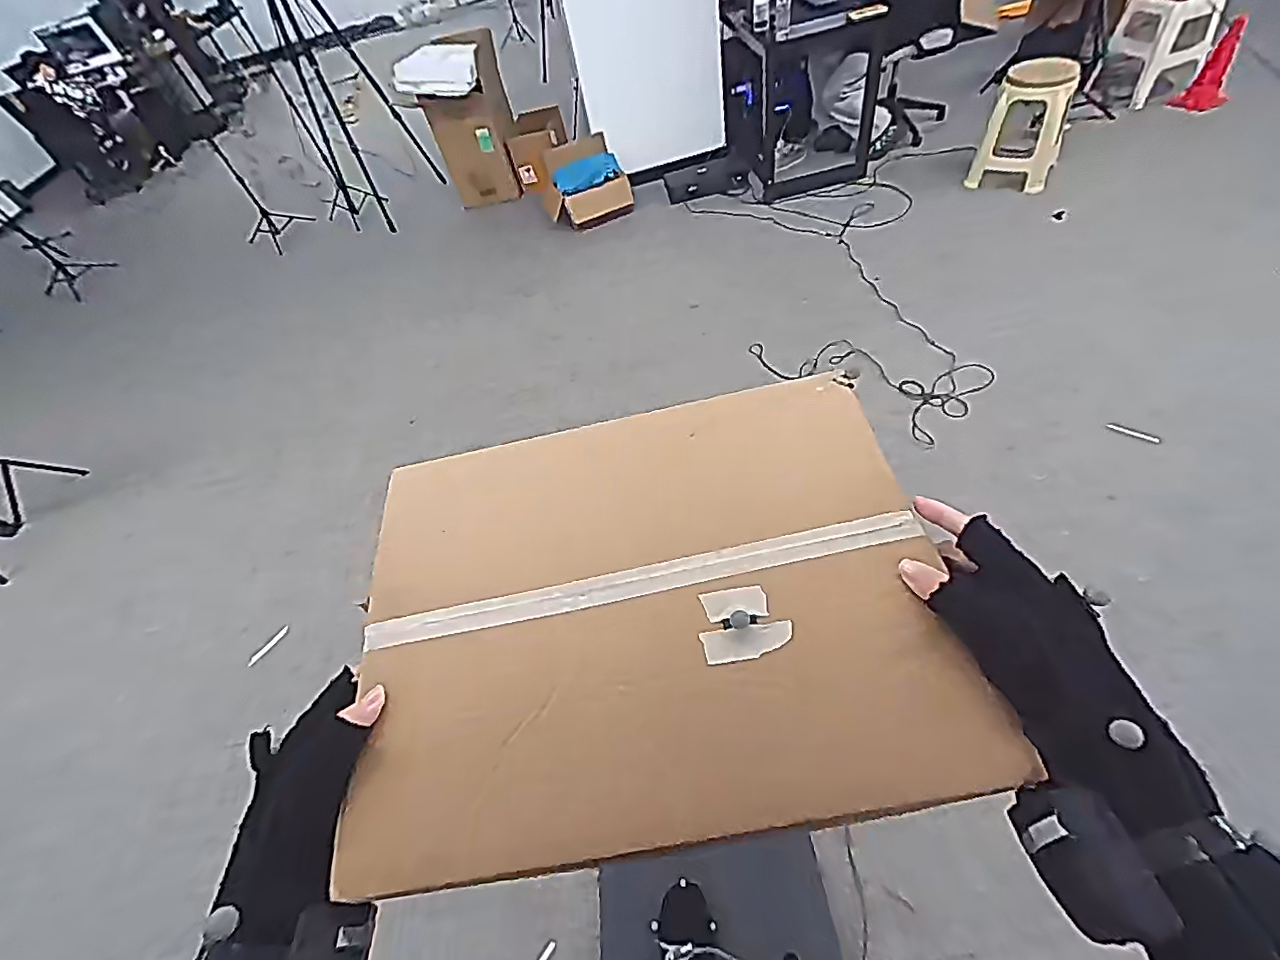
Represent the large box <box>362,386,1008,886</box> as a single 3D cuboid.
[{"bbox_3d":[0.023,0.164,0.526,0.408,0.320,0.320,-12,55,3],"label":"large box"}]
